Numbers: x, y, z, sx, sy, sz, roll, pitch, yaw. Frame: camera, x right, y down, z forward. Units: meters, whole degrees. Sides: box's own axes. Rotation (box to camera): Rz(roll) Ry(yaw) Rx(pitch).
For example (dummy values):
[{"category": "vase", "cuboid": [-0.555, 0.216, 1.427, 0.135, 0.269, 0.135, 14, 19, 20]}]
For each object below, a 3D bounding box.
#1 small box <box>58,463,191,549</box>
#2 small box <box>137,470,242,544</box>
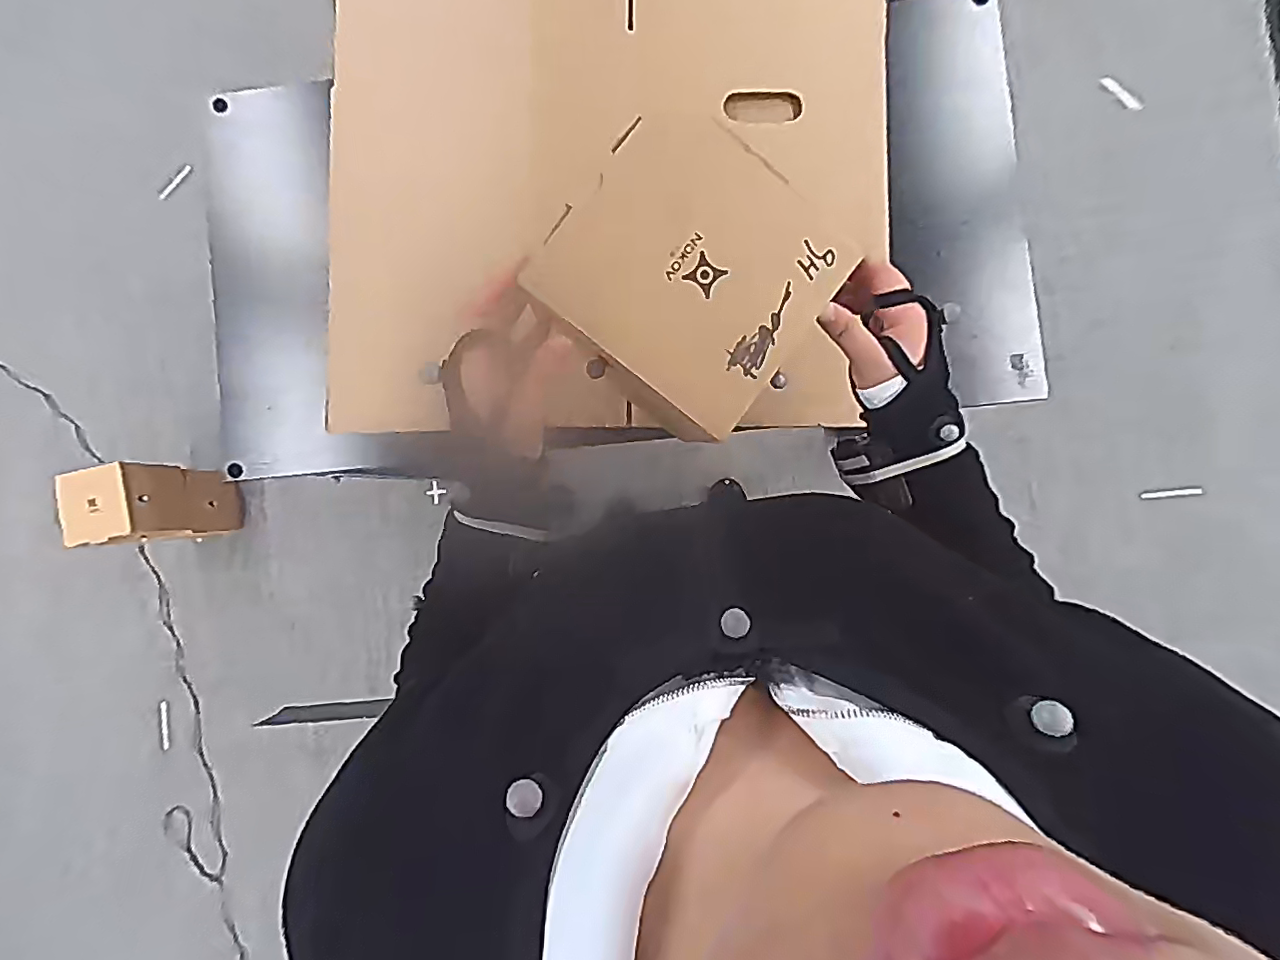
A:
[{"category": "small box", "cuboid": [-1.268, 0.063, 1.343, 0.168, 0.176, 0.179, -13, 86, 2]}, {"category": "small box", "cuboid": [-1.256, 0.074, 1.505, 0.168, 0.176, 0.179, -10, 88, 3]}]
